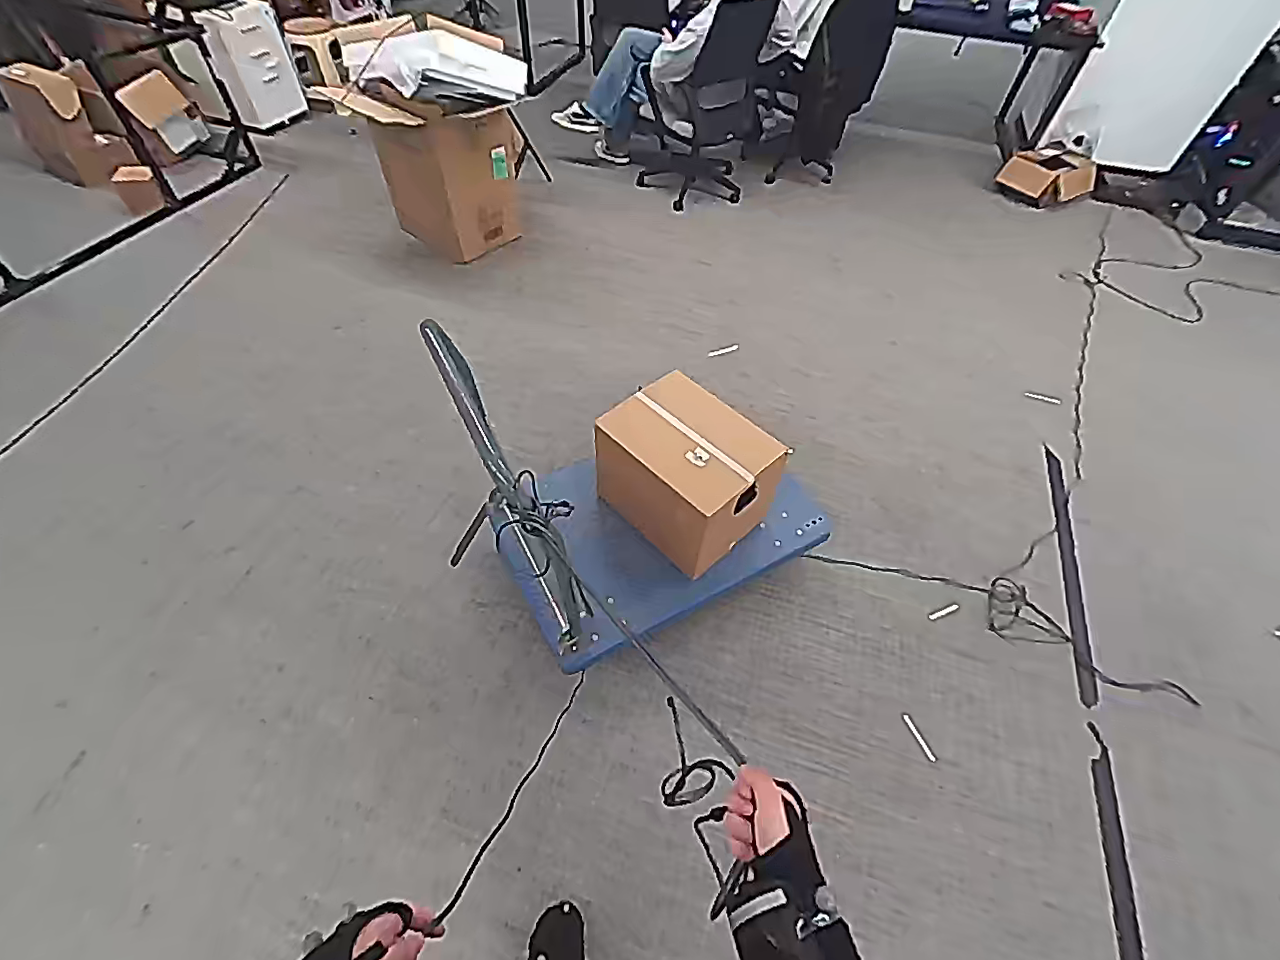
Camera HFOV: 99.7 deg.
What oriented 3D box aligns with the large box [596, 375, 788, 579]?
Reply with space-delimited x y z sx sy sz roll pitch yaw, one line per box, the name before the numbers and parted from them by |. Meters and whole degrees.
large box | 0.119 -0.013 1.486 0.320 0.320 0.408 -36 63 -26
